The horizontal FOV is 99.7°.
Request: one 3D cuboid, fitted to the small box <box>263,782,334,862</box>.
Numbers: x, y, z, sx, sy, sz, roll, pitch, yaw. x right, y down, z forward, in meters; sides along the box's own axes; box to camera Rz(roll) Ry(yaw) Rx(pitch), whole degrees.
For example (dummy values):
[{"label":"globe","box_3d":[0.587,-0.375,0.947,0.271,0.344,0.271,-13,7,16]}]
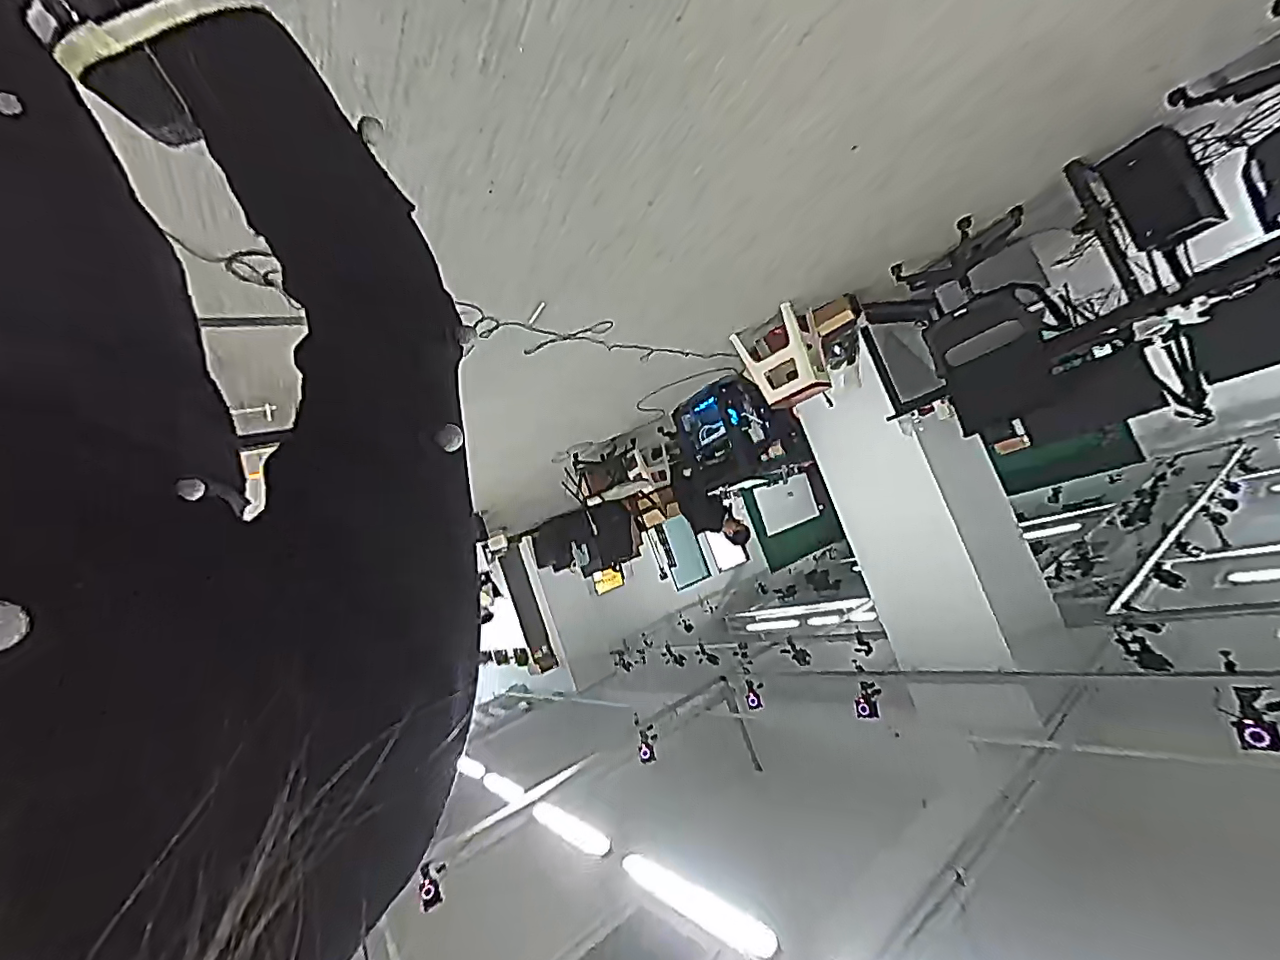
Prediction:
[{"label":"small box","box_3d":[-1.237,1.226,1.952,0.179,0.176,0.168,-17,174,-40]}]
